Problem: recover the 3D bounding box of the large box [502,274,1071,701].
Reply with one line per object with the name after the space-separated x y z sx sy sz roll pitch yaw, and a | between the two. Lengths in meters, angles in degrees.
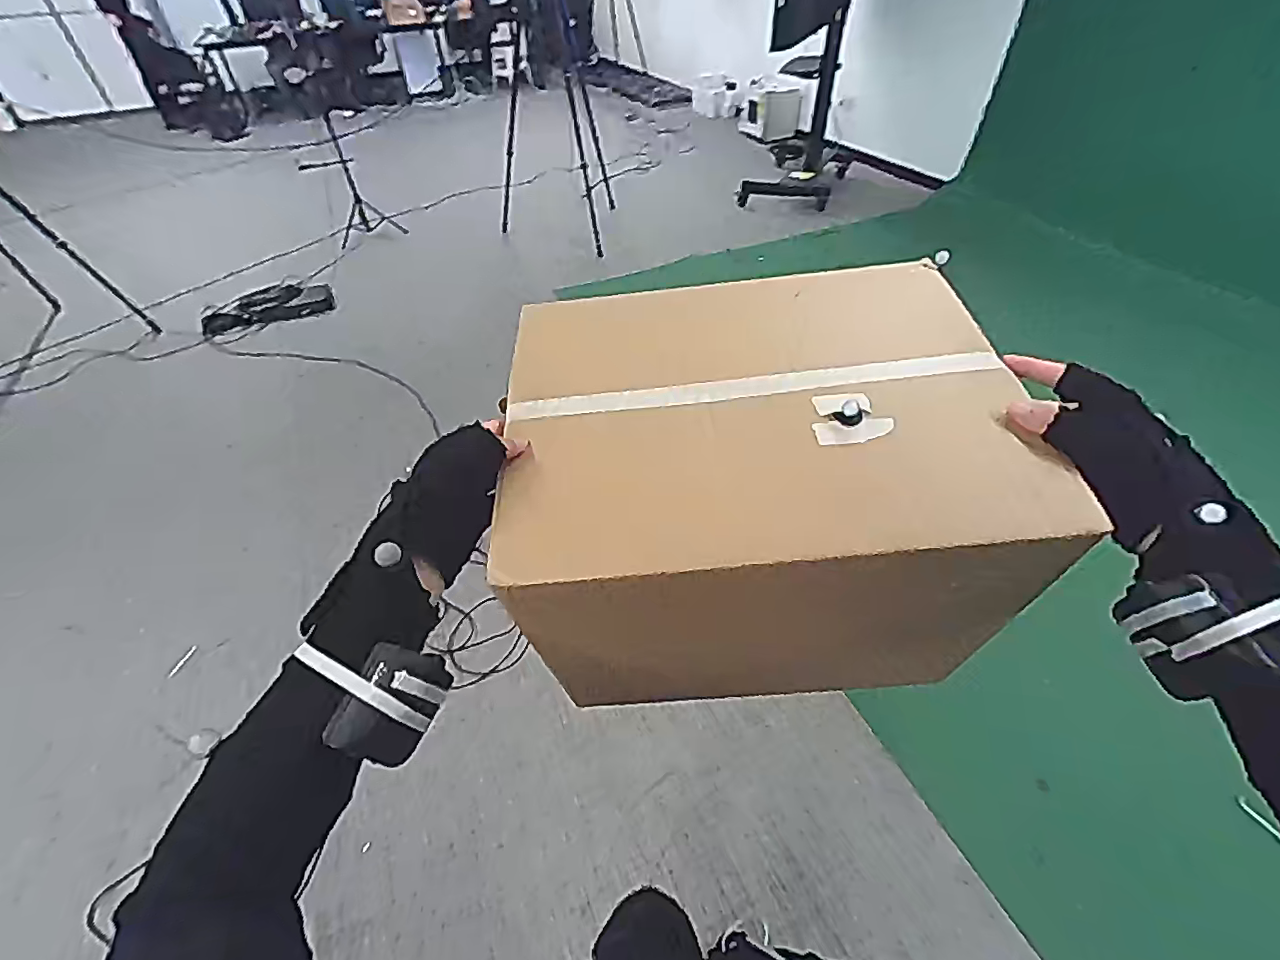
0.100 0.021 0.579 0.408 0.320 0.320 -5 53 2 | large box
